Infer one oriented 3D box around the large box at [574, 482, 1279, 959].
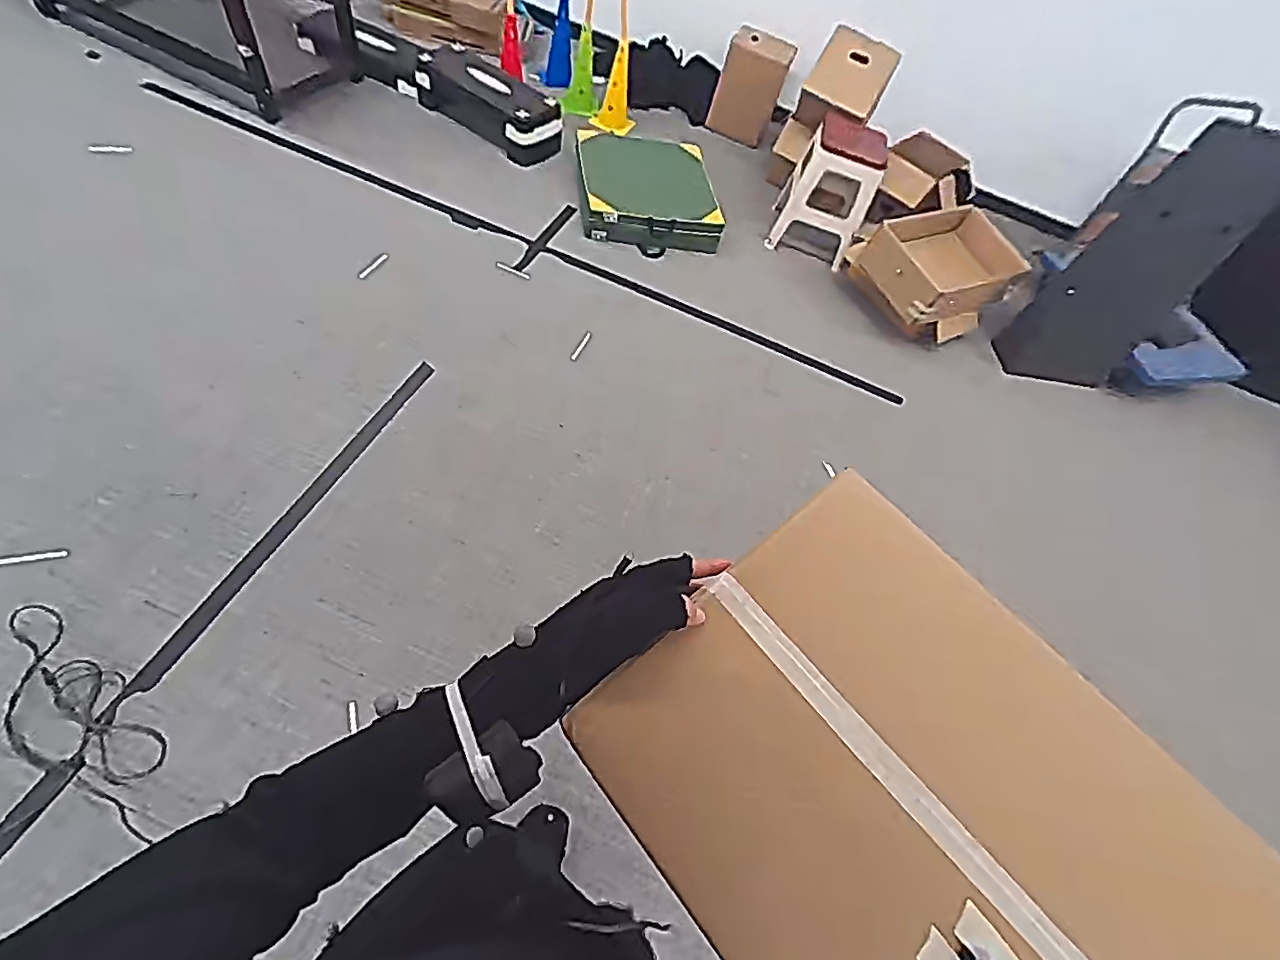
[{"bbox_3d":[0.187,0.284,0.510,0.320,0.320,0.408,-37,71,-15],"label":"large box"}]
